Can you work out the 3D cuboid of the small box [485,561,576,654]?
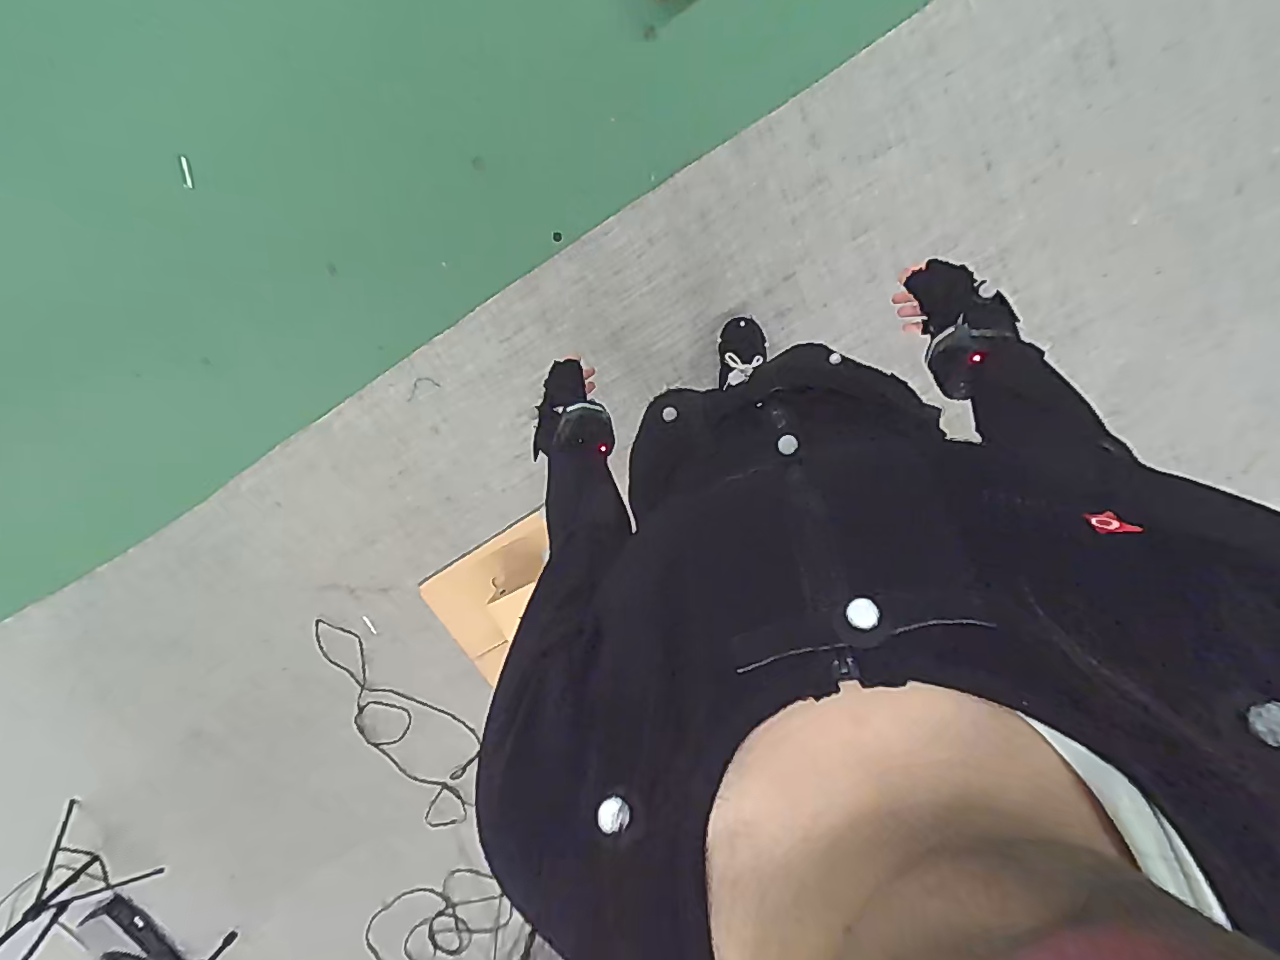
[{"bbox_3d":[-0.305,0.360,1.547,0.179,0.176,0.168,-27,102,12],"label":"small box"}]
